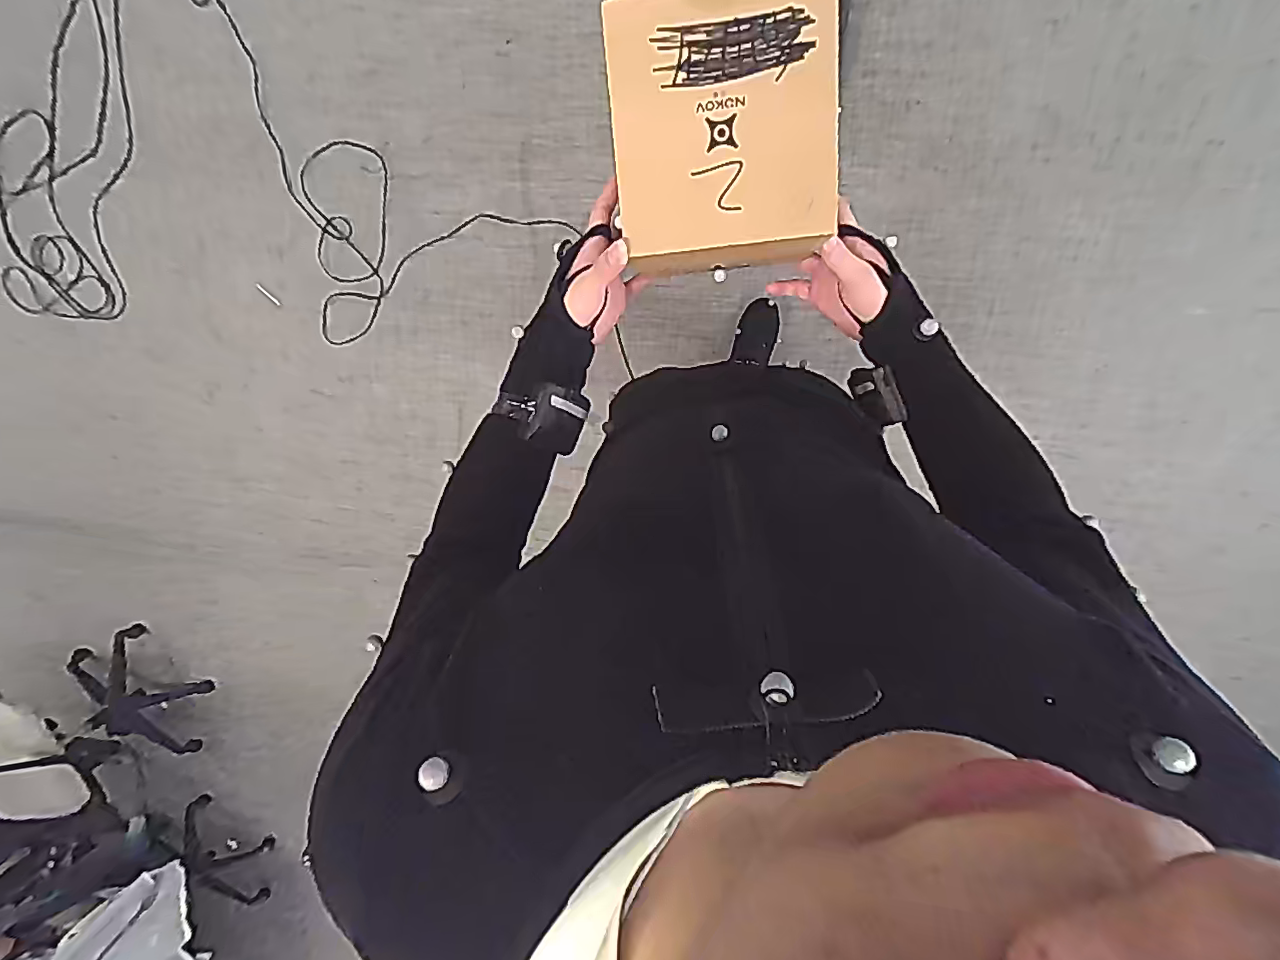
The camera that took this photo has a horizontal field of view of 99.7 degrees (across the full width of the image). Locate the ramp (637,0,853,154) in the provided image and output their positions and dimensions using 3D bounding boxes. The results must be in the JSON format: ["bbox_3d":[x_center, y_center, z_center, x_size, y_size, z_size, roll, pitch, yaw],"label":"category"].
[{"bbox_3d":[0.234,-1.272,1.137,0.509,0.206,0.991,3,108,9],"label":"ramp"}]
